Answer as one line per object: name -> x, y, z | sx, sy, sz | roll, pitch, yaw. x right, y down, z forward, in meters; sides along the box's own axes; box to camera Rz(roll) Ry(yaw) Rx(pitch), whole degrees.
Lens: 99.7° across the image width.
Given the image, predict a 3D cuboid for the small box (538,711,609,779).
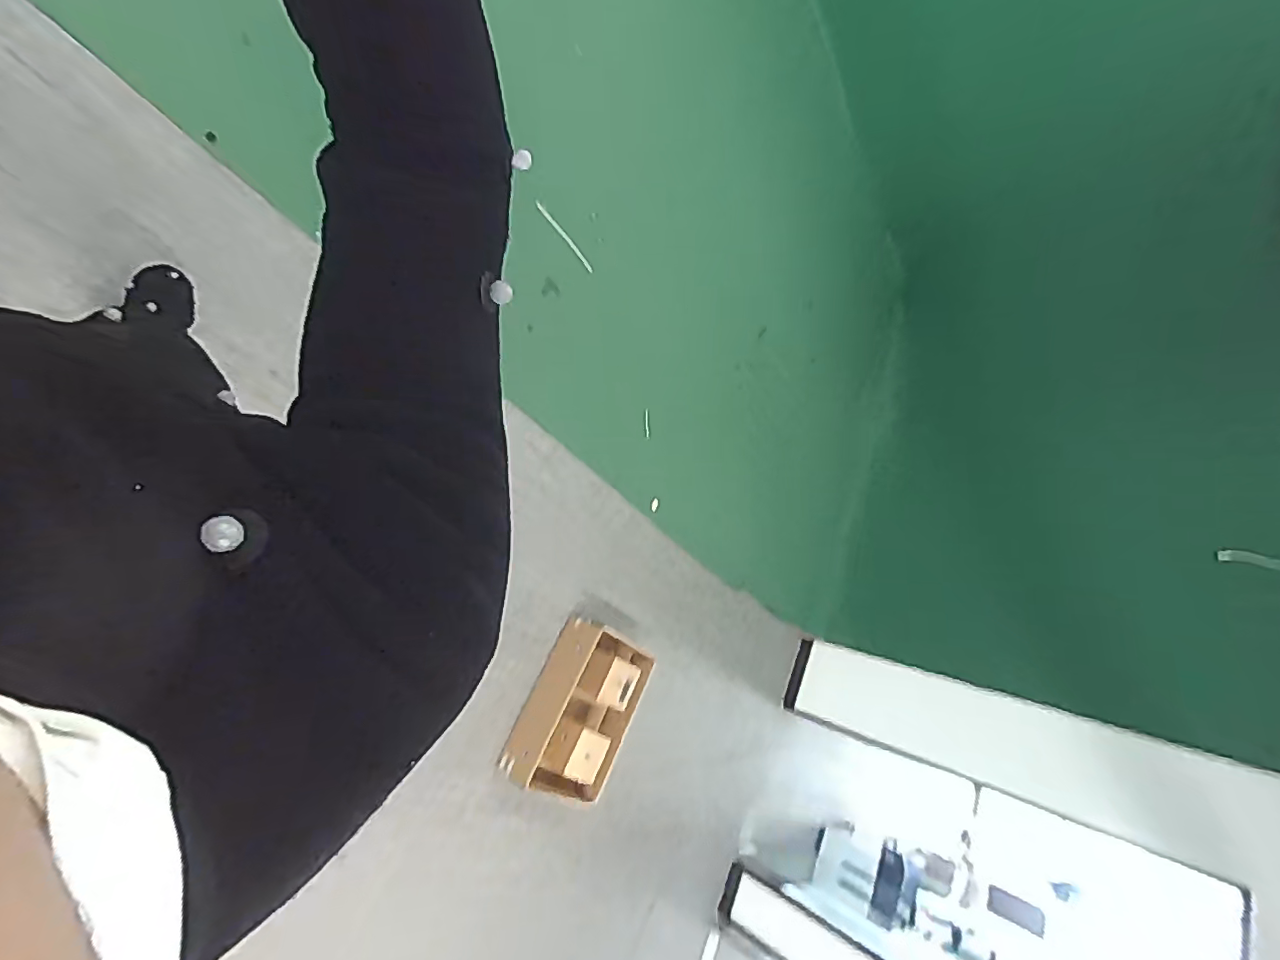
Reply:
small box -> -0.259, 1.011, 2.074 | 0.179, 0.176, 0.168 | 45, 63, -39
